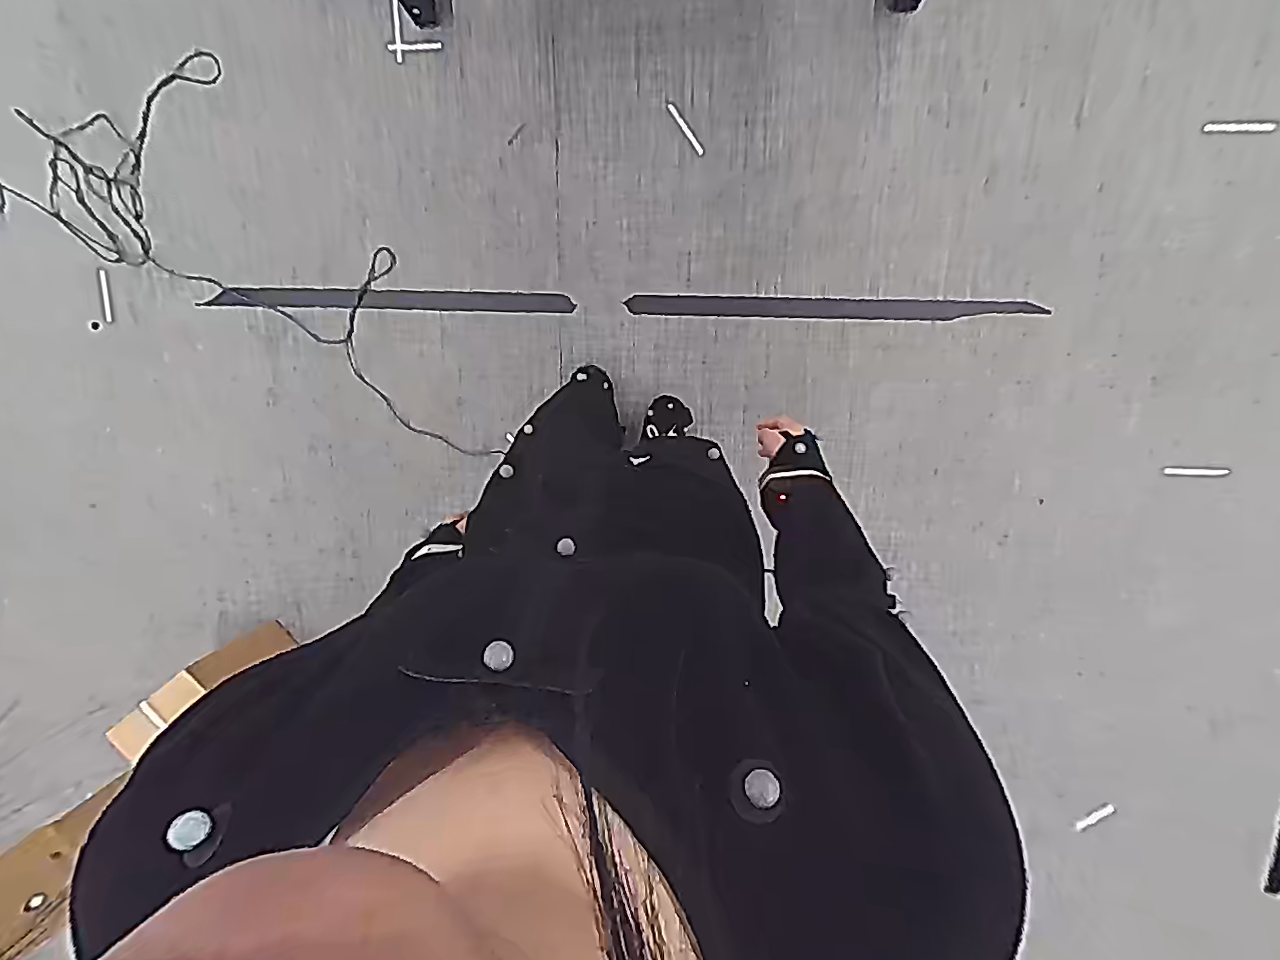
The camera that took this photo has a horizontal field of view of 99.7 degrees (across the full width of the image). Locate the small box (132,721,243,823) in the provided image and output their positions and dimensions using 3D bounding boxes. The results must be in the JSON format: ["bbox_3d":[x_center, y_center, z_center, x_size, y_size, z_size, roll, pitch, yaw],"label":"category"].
[{"bbox_3d":[-1.101,0.716,1.275,0.179,0.176,0.168,-40,95,9],"label":"small box"}]

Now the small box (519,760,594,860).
[{"bbox_3d":[-0.233,0.942,1.553,0.168,0.176,0.179,-9,98,3],"label":"small box"}]

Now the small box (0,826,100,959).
[{"bbox_3d":[-1.127,0.765,0.953,0.179,0.176,0.168,-40,95,9],"label":"small box"}]

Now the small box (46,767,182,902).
[{"bbox_3d":[-1.115,0.744,1.115,0.179,0.176,0.168,-39,95,10],"label":"small box"}]
